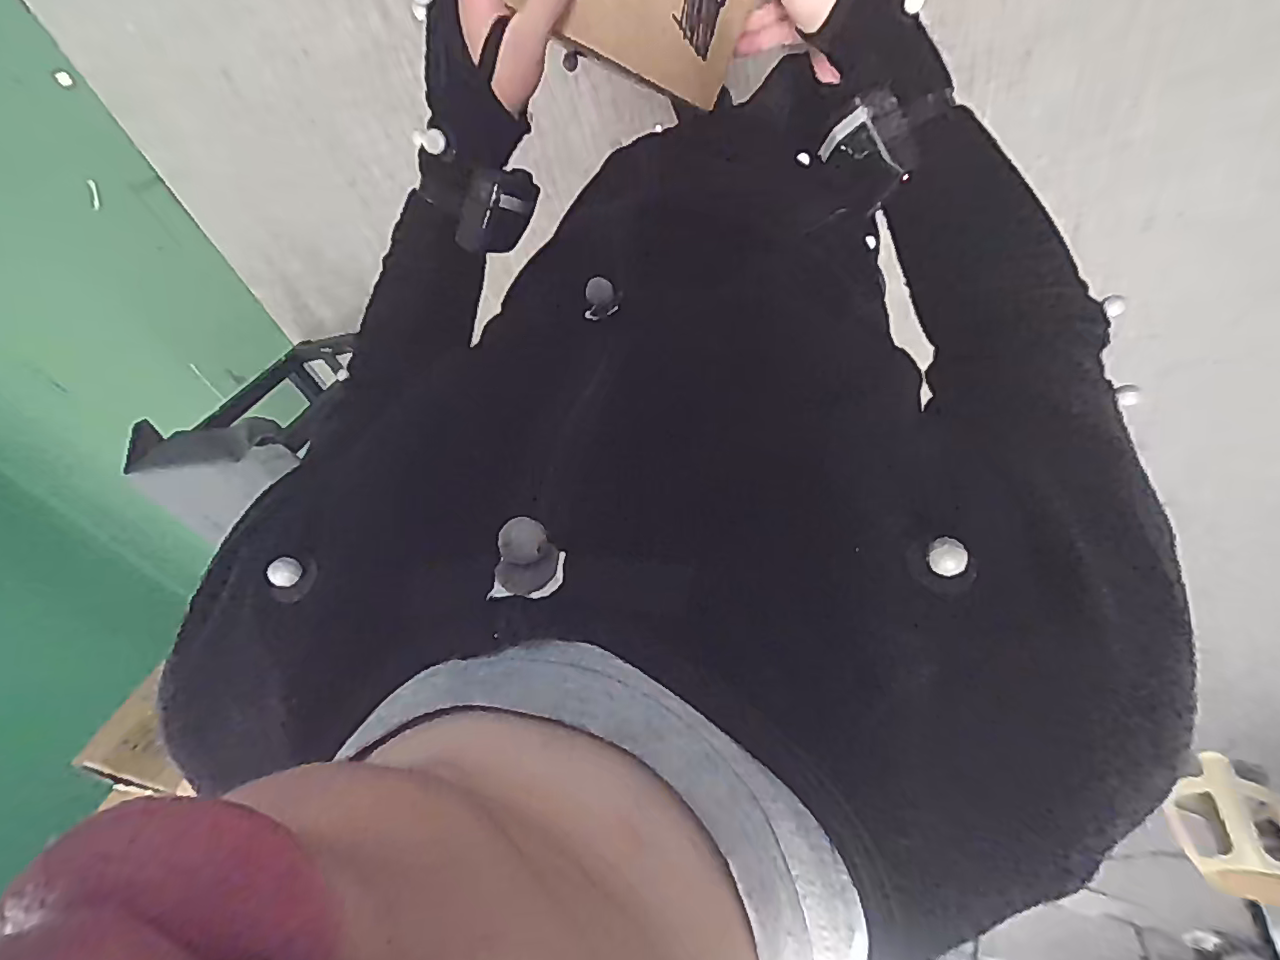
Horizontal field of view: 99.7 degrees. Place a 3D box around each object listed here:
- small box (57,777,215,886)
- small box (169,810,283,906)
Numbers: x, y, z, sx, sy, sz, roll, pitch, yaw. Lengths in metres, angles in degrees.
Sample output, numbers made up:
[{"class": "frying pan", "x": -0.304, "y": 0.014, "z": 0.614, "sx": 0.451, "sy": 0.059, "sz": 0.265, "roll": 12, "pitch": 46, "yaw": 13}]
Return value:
[{"class": "small box", "x": -1.173, "y": 0.827, "z": 1.276, "sx": 0.168, "sy": 0.176, "sz": 0.179, "roll": -3, "pitch": 135, "yaw": 18}, {"class": "small box", "x": -1.104, "y": 1.006, "z": 1.446, "sx": 0.179, "sy": 0.176, "sz": 0.168, "roll": -3, "pitch": 133, "yaw": 20}]
